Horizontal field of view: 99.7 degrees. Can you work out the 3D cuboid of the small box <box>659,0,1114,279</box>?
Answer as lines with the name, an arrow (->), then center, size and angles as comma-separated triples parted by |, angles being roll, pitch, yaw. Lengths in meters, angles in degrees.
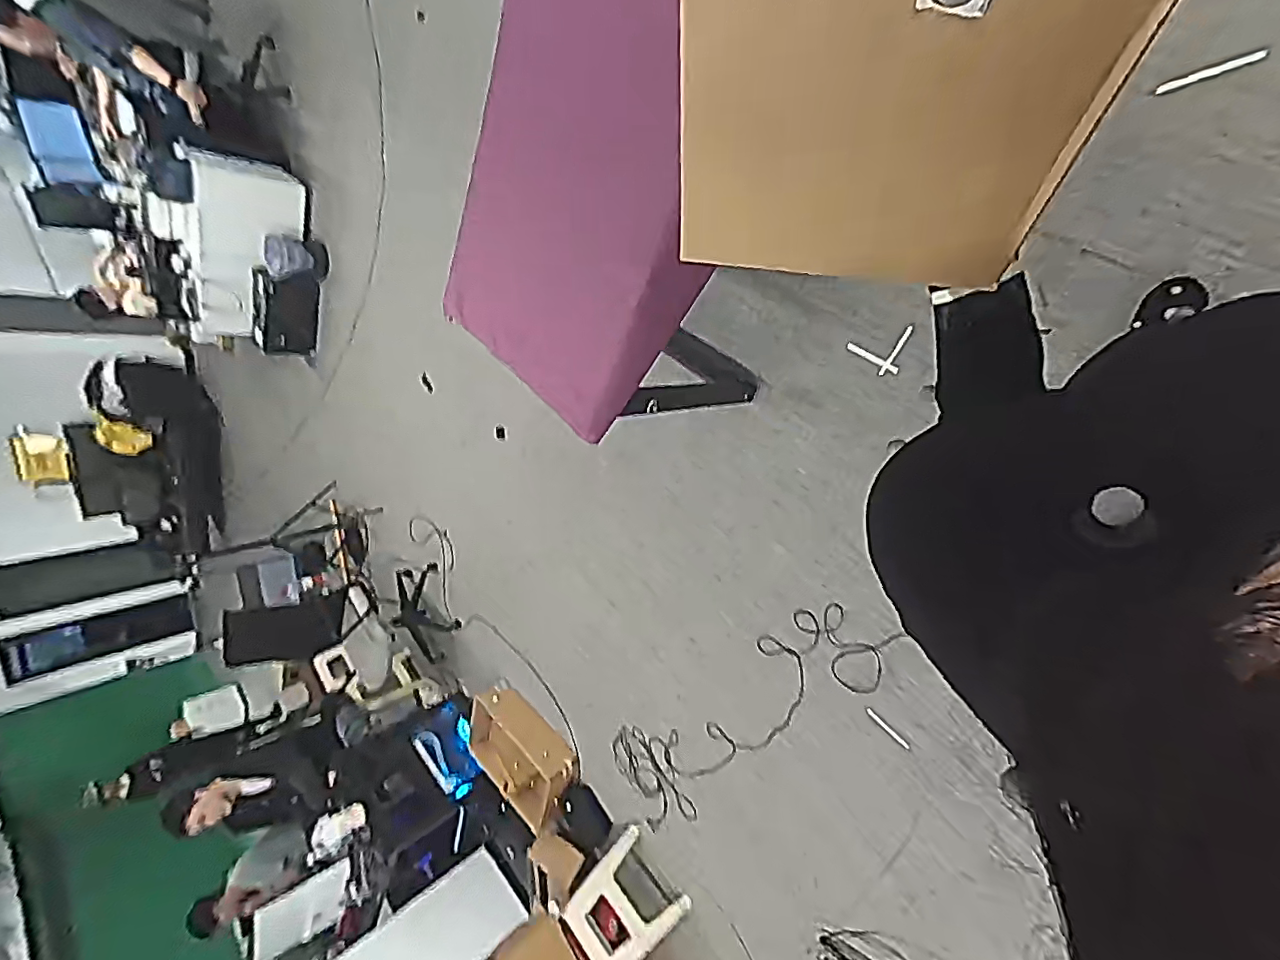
small box -> 0.107, -0.228, 0.260 | 0.168, 0.179, 0.176 | 8, 152, 12
